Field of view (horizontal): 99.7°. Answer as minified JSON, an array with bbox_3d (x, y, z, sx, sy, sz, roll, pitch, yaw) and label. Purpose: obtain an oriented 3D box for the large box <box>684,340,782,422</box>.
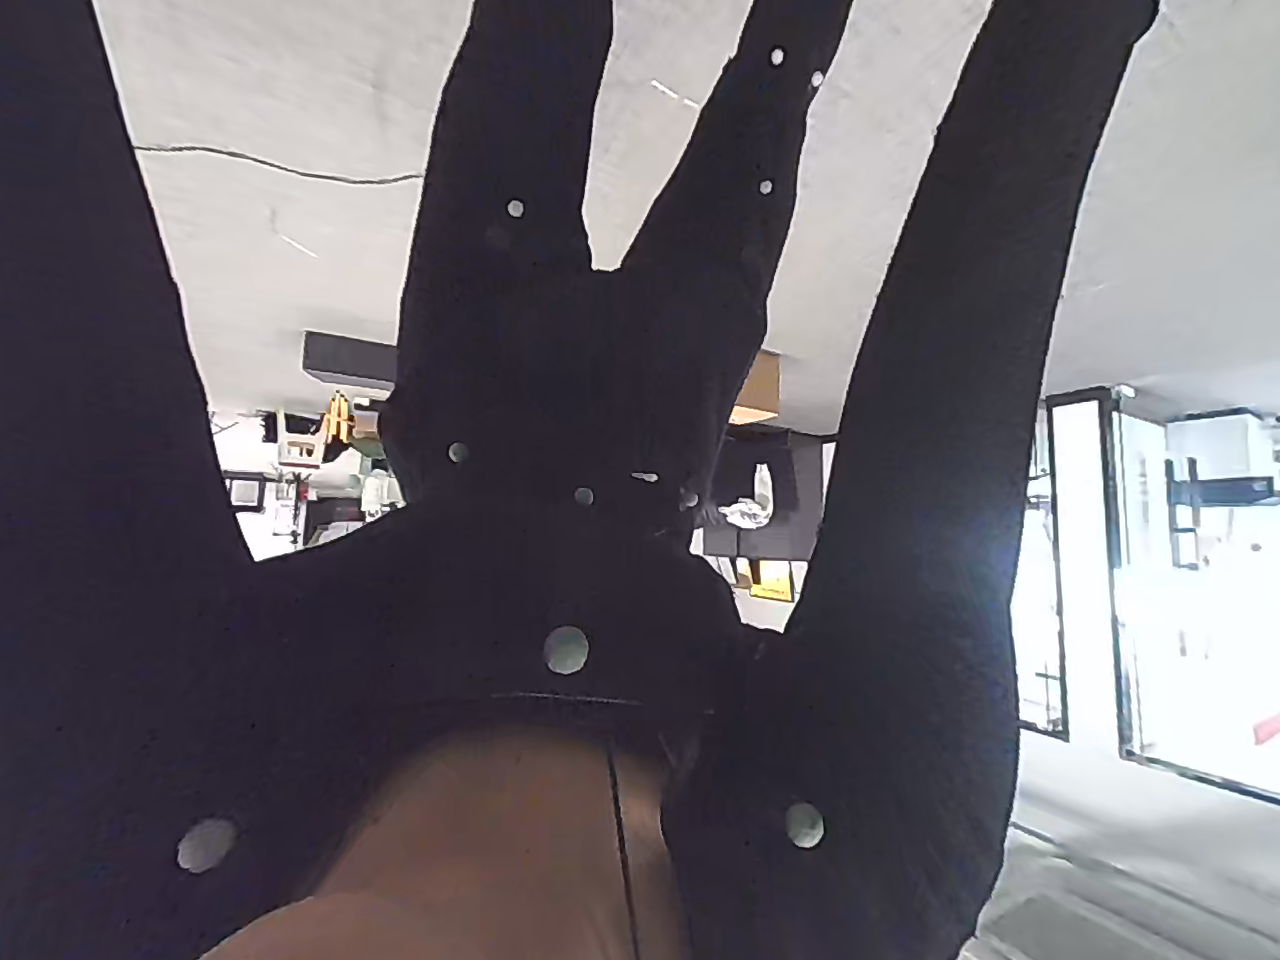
[{"bbox_3d":[0.469,-0.496,2.765,0.408,0.320,0.320,4,174,-31],"label":"large box"}]
